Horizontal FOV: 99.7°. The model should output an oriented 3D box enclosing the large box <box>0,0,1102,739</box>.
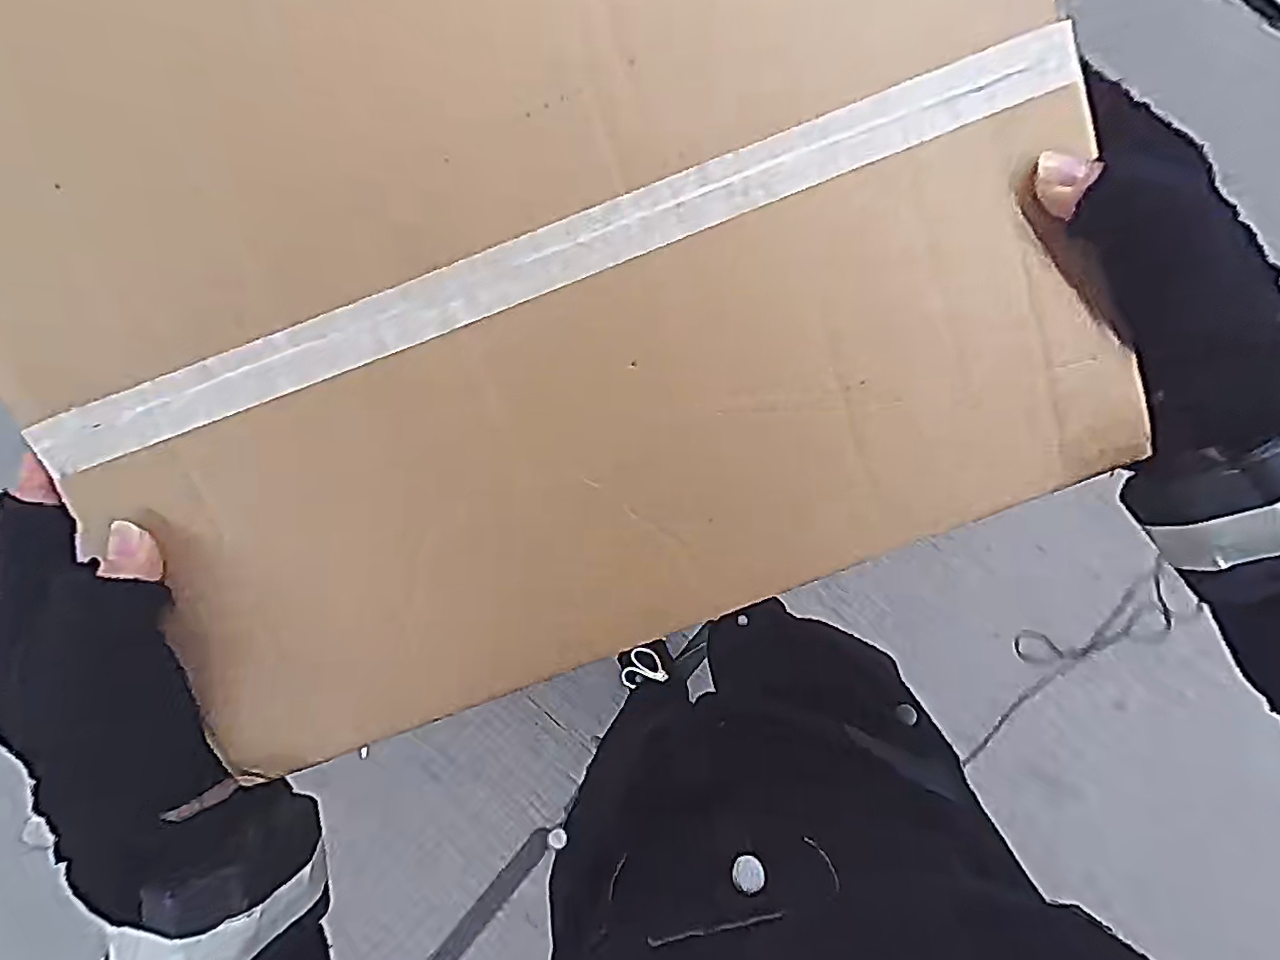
[{"bbox_3d":[-0.035,-0.116,0.359,0.408,0.320,0.320,-19,100,1],"label":"large box"}]
